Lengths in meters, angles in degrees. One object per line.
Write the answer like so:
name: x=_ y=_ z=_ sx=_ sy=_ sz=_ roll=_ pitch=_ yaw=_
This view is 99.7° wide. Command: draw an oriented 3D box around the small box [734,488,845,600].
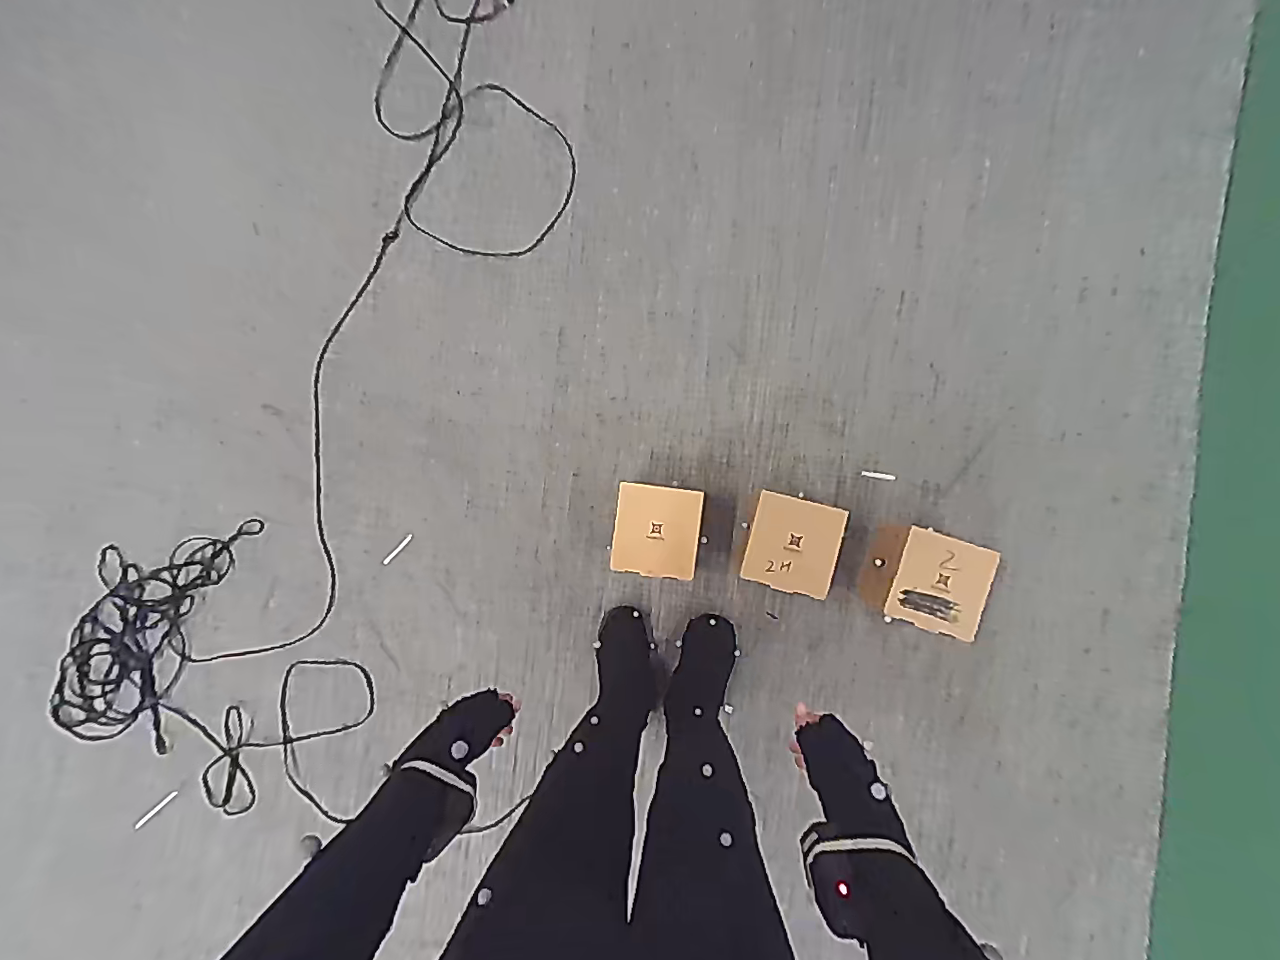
small box: x=0.291 y=0.120 z=1.090 sx=0.168 sy=0.176 sz=0.179 roll=15 pitch=91 yaw=7

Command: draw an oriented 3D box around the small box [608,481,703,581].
small box: x=0.037 y=0.098 z=1.119 sx=0.168 sy=0.176 sz=0.179 roll=7 pitch=90 yaw=6
